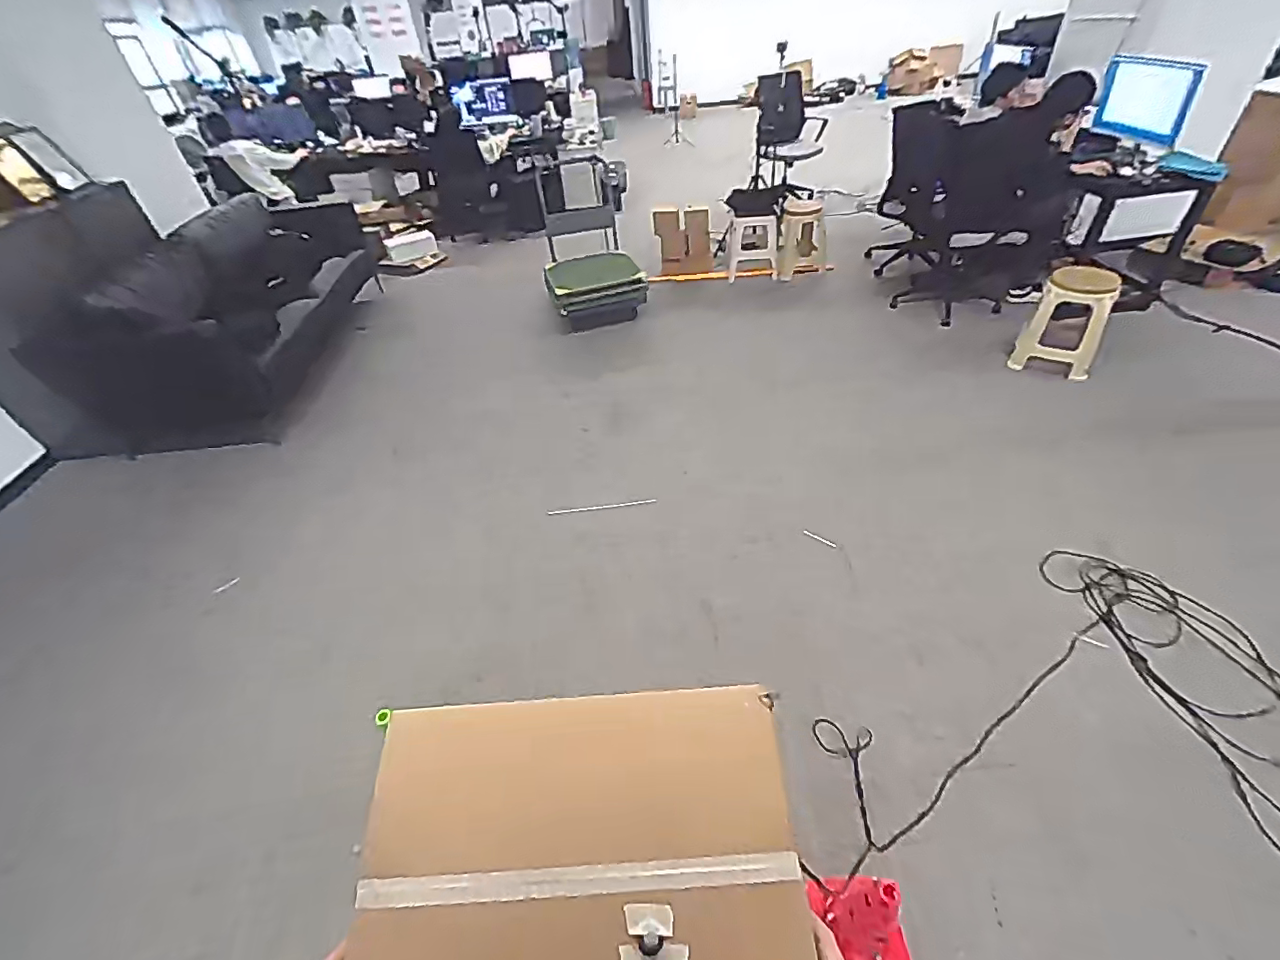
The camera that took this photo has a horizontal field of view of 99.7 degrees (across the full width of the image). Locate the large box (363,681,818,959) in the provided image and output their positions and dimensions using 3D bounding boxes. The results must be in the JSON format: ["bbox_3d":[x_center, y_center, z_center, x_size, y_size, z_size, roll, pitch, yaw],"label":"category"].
[{"bbox_3d":[-0.044,0.446,0.627,0.408,0.320,0.320,-5,57,1],"label":"large box"}]
